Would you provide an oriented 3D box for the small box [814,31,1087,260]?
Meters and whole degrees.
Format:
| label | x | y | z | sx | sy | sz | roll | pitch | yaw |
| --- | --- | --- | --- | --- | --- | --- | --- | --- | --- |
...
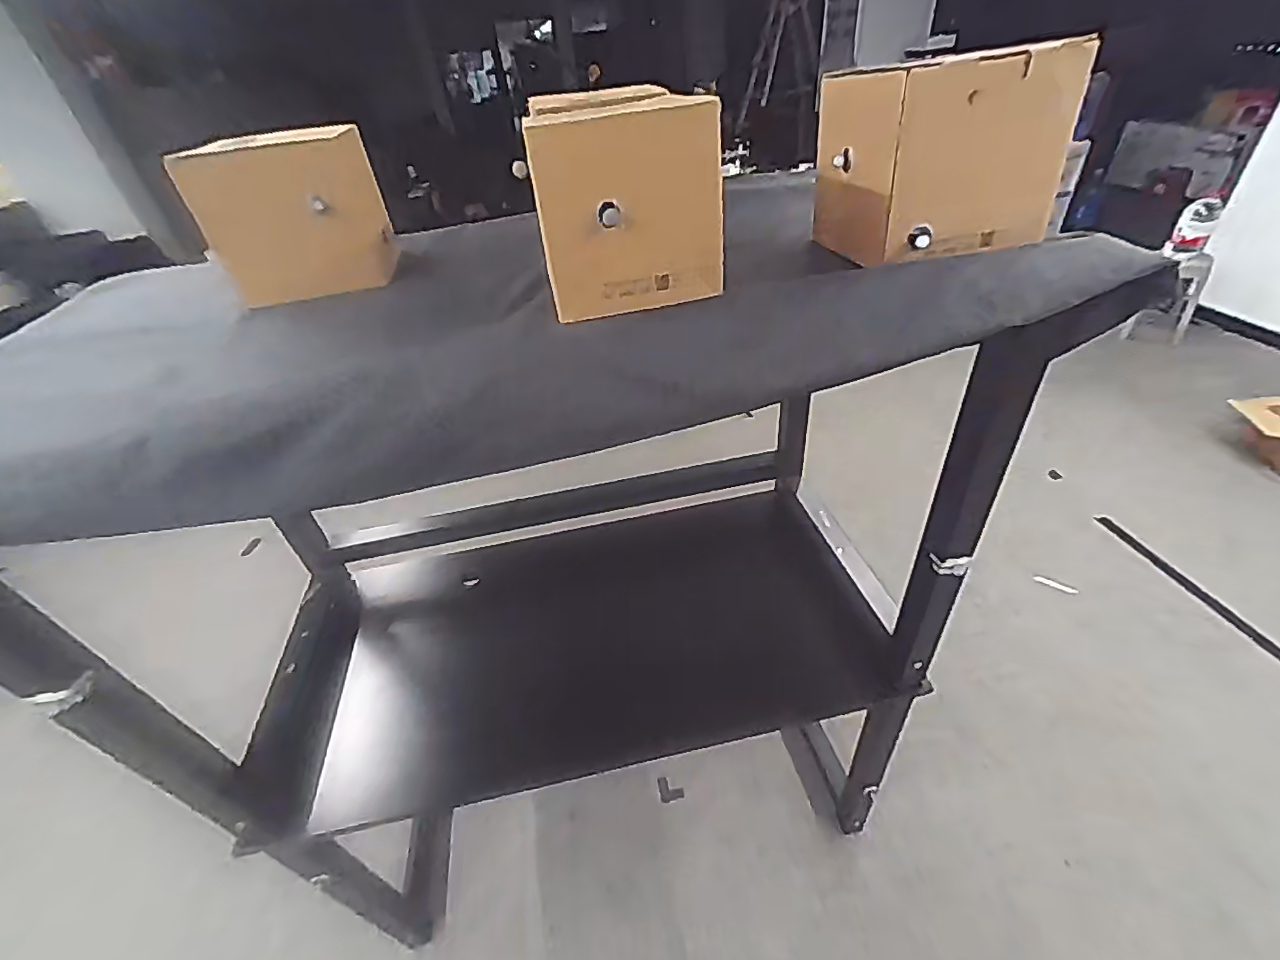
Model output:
| label | x | y | z | sx | sy | sz | roll | pitch | yaw |
| --- | --- | --- | --- | --- | --- | --- | --- | --- | --- |
| small box | 0.293 | -0.335 | 0.559 | 0.168 | 0.176 | 0.179 | -10 | 34 | -3 |

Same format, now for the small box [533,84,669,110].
| label | x | y | z | sx | sy | sz | roll | pitch | yaw |
| --- | --- | --- | --- | --- | --- | --- | --- | --- | --- |
| small box | -0.051 | -0.441 | 0.757 | 0.168 | 0.176 | 0.179 | -11 | 37 | -5 |

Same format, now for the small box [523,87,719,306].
| label | x | y | z | sx | sy | sz | roll | pitch | yaw |
| --- | --- | --- | --- | --- | --- | --- | --- | --- | --- |
| small box | -0.019 | -0.288 | 0.556 | 0.168 | 0.176 | 0.179 | -11 | 36 | -5 |
